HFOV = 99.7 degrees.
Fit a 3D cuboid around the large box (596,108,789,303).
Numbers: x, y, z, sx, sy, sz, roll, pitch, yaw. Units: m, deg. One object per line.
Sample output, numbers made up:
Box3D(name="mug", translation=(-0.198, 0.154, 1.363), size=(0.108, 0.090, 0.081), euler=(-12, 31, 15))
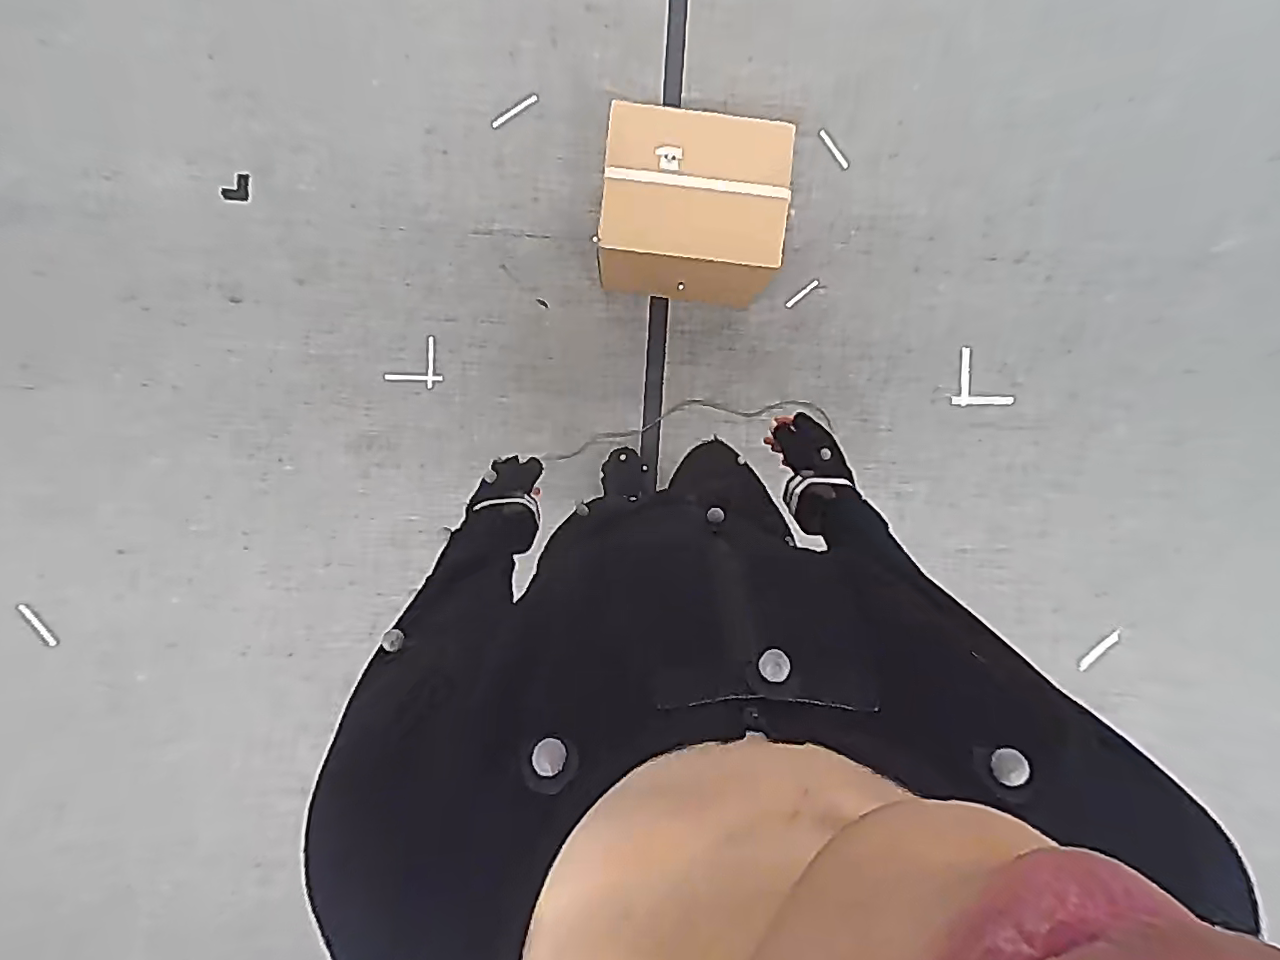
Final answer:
Box3D(name="large box", translation=(0.113, -0.640, 1.322), size=(0.408, 0.320, 0.320), euler=(6, 91, -1))
